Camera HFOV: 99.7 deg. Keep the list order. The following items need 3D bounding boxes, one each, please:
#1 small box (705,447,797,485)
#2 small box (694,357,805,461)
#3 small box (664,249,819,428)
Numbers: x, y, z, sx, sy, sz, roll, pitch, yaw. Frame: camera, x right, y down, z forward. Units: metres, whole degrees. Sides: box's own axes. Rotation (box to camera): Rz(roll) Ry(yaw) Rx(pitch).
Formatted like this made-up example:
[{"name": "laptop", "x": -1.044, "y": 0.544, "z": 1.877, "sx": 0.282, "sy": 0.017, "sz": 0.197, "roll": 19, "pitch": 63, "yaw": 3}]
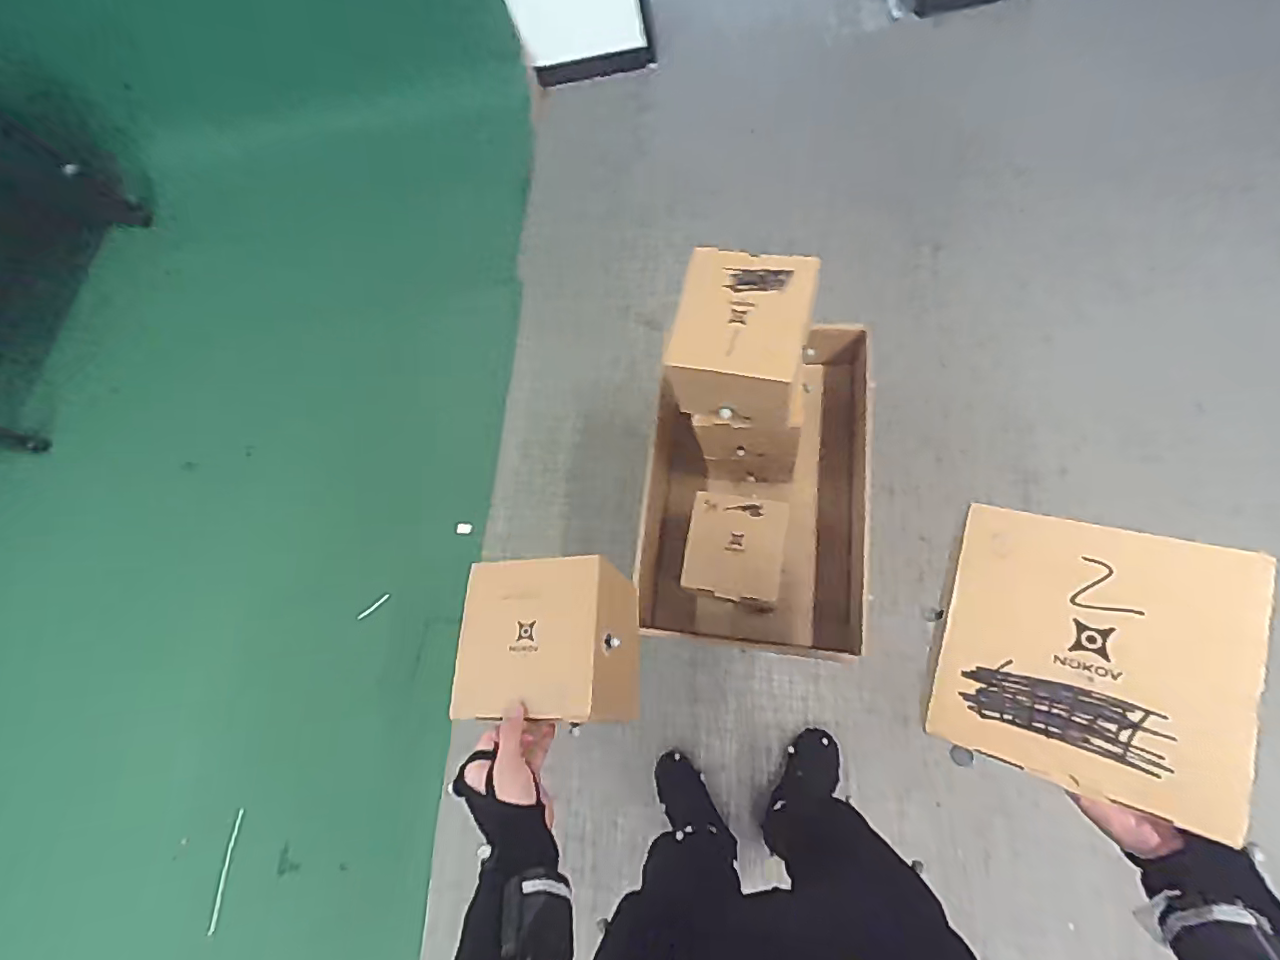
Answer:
[{"name": "small box", "x": 0.226, "y": -0.101, "z": 1.067, "sx": 0.168, "sy": 0.176, "sz": 0.179, "roll": 3, "pitch": 75, "yaw": 15}, {"name": "small box", "x": 0.188, "y": -0.143, "z": 0.915, "sx": 0.168, "sy": 0.176, "sz": 0.179, "roll": 2, "pitch": 75, "yaw": 14}, {"name": "small box", "x": 0.146, "y": -0.193, "z": 0.764, "sx": 0.168, "sy": 0.176, "sz": 0.179, "roll": 12, "pitch": 78, "yaw": 17}]
